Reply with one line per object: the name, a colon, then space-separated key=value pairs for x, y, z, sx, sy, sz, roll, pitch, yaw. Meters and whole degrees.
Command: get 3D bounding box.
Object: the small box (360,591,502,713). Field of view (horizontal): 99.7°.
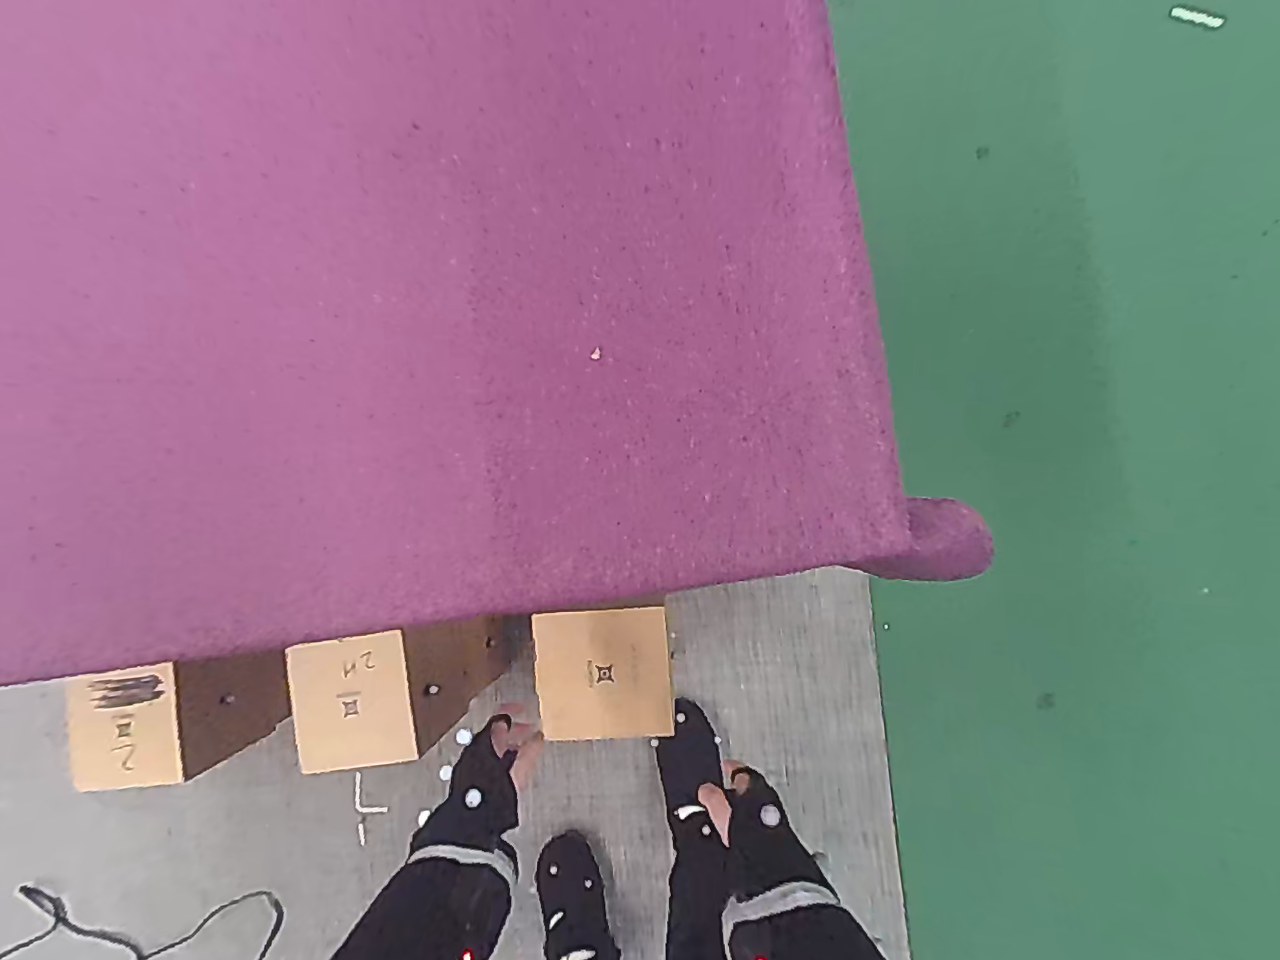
small box: x=-0.367 y=0.299 z=0.969 sx=0.179 sy=0.176 sz=0.168 roll=-8 pitch=87 yaw=5
